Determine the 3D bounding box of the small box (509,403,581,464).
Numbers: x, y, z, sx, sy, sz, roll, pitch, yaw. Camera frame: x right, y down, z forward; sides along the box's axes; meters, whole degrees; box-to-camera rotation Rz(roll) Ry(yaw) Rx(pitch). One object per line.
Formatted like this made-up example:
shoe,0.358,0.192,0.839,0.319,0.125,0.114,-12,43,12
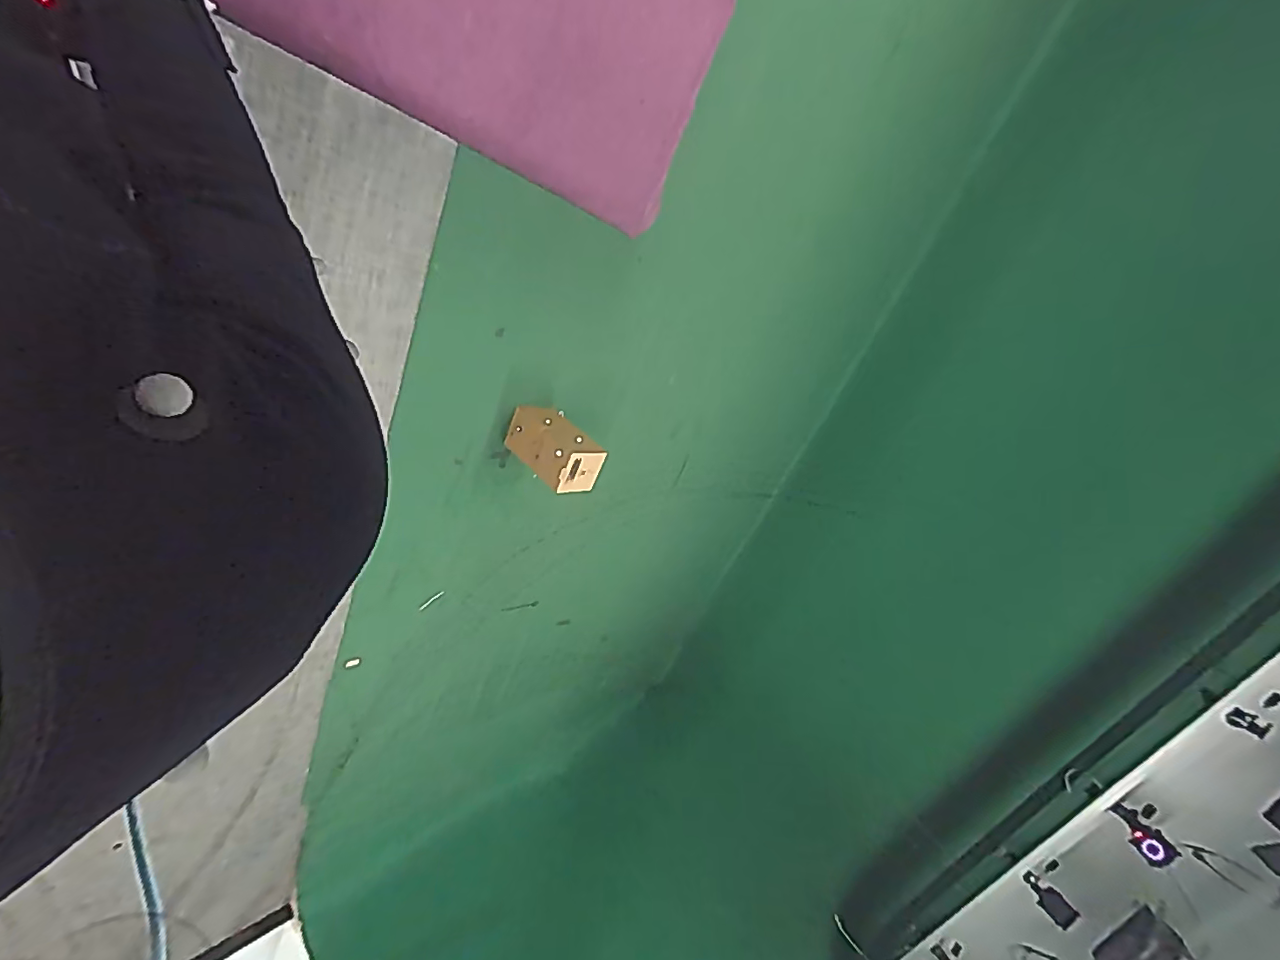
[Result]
small box,-0.358,-0.175,2.024,0.179,0.176,0.168,-4,126,-49
